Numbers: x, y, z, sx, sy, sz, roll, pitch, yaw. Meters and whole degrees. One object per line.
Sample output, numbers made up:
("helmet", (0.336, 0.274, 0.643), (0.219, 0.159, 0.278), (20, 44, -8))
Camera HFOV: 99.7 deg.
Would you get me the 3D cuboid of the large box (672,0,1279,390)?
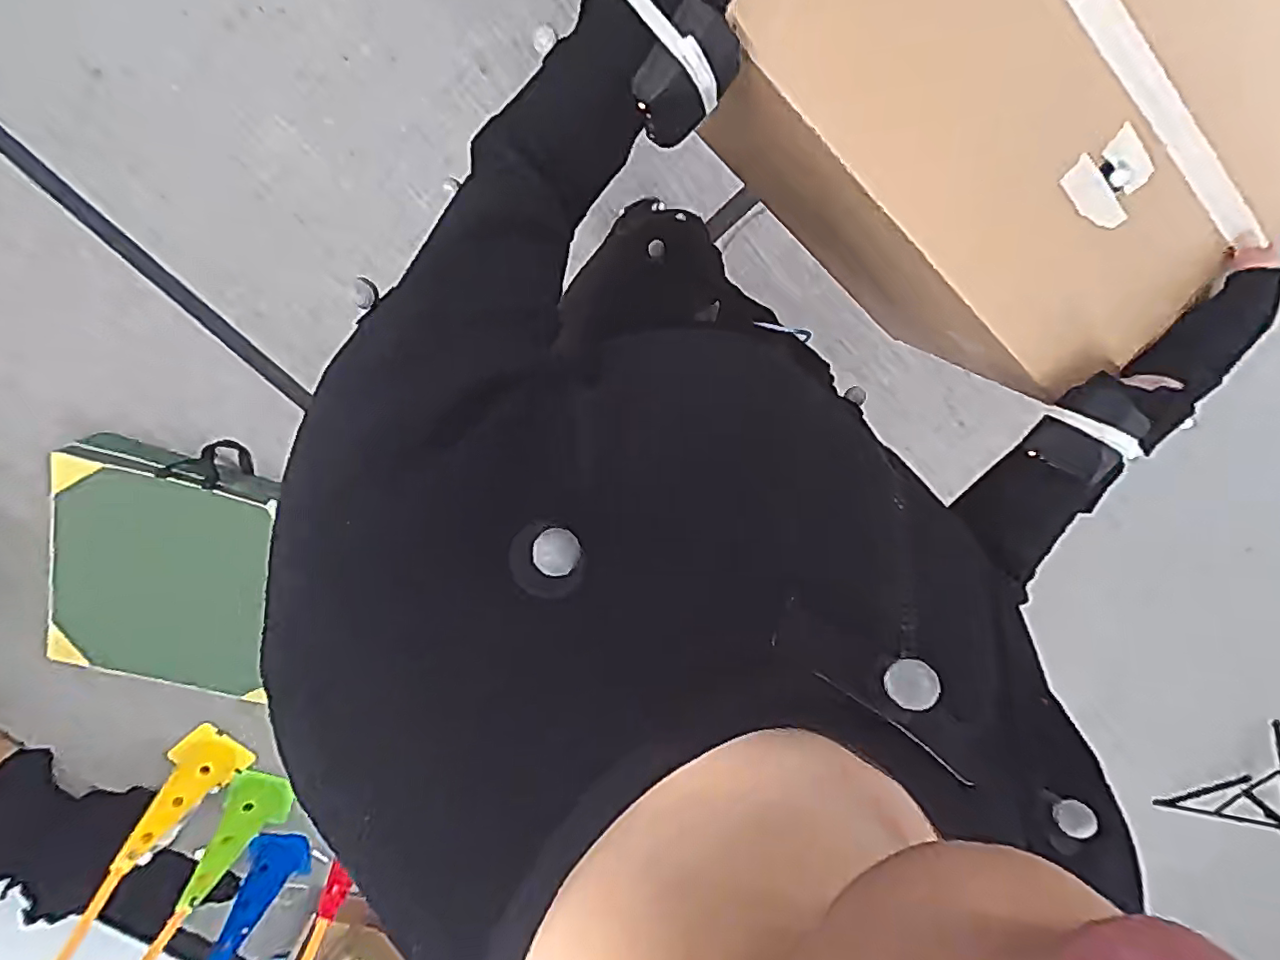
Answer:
("large box", (0.288, -0.355, 0.487), (0.408, 0.320, 0.320), (35, 111, -19))
